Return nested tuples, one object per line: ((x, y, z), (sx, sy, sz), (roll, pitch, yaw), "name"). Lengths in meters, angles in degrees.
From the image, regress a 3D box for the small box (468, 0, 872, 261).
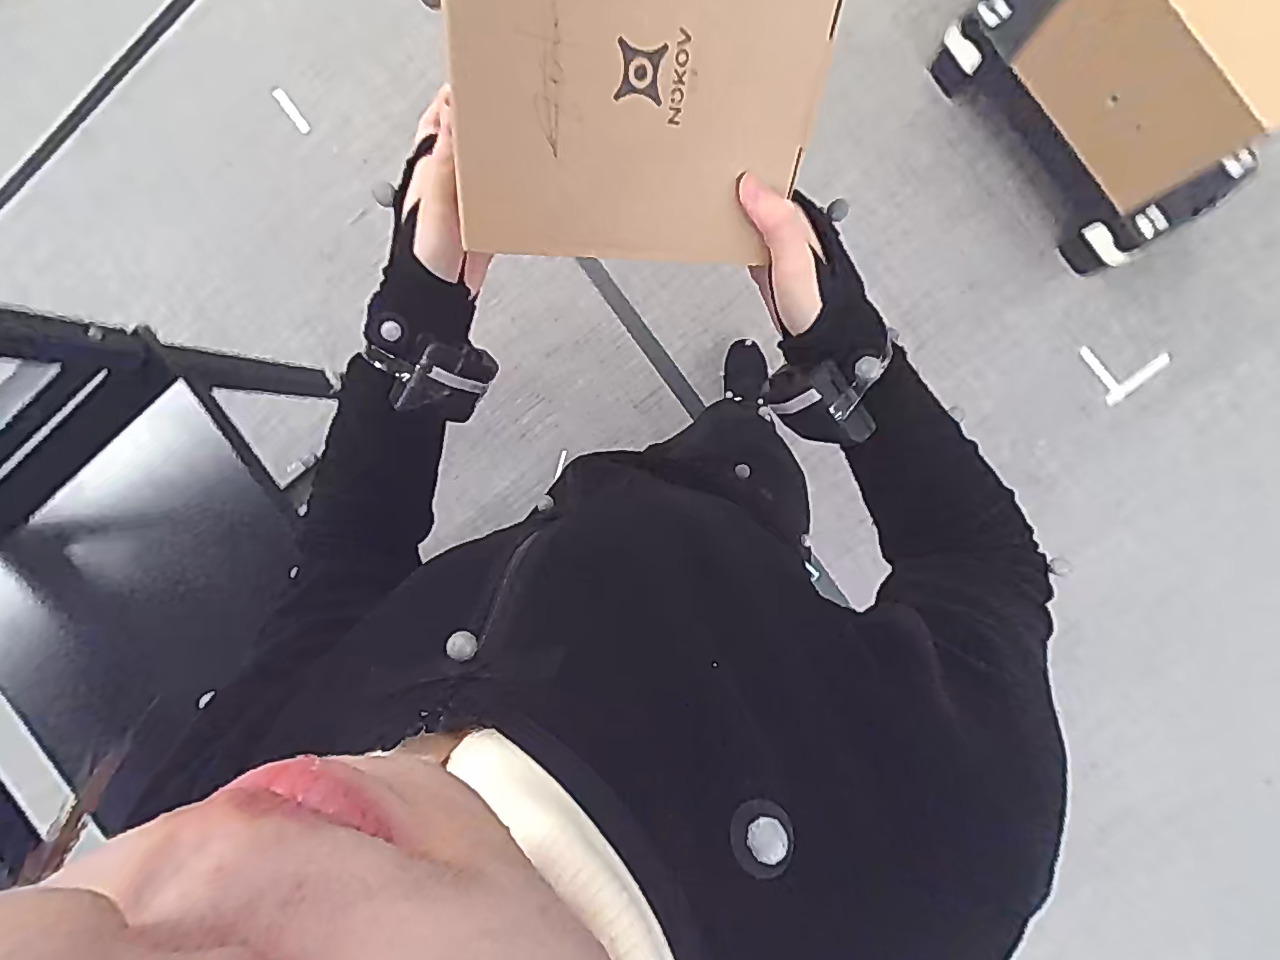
((-0.002, -0.236, 0.299), (0.179, 0.176, 0.168), (-2, 128, -15), "small box")

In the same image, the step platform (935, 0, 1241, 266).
((0.981, -0.856, 1.216), (0.286, 0.204, 0.684), (-31, 89, 8), "step platform")

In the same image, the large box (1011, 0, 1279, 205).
((1.001, -0.808, 0.977), (0.320, 0.320, 0.408), (-37, 88, 7), "large box")
